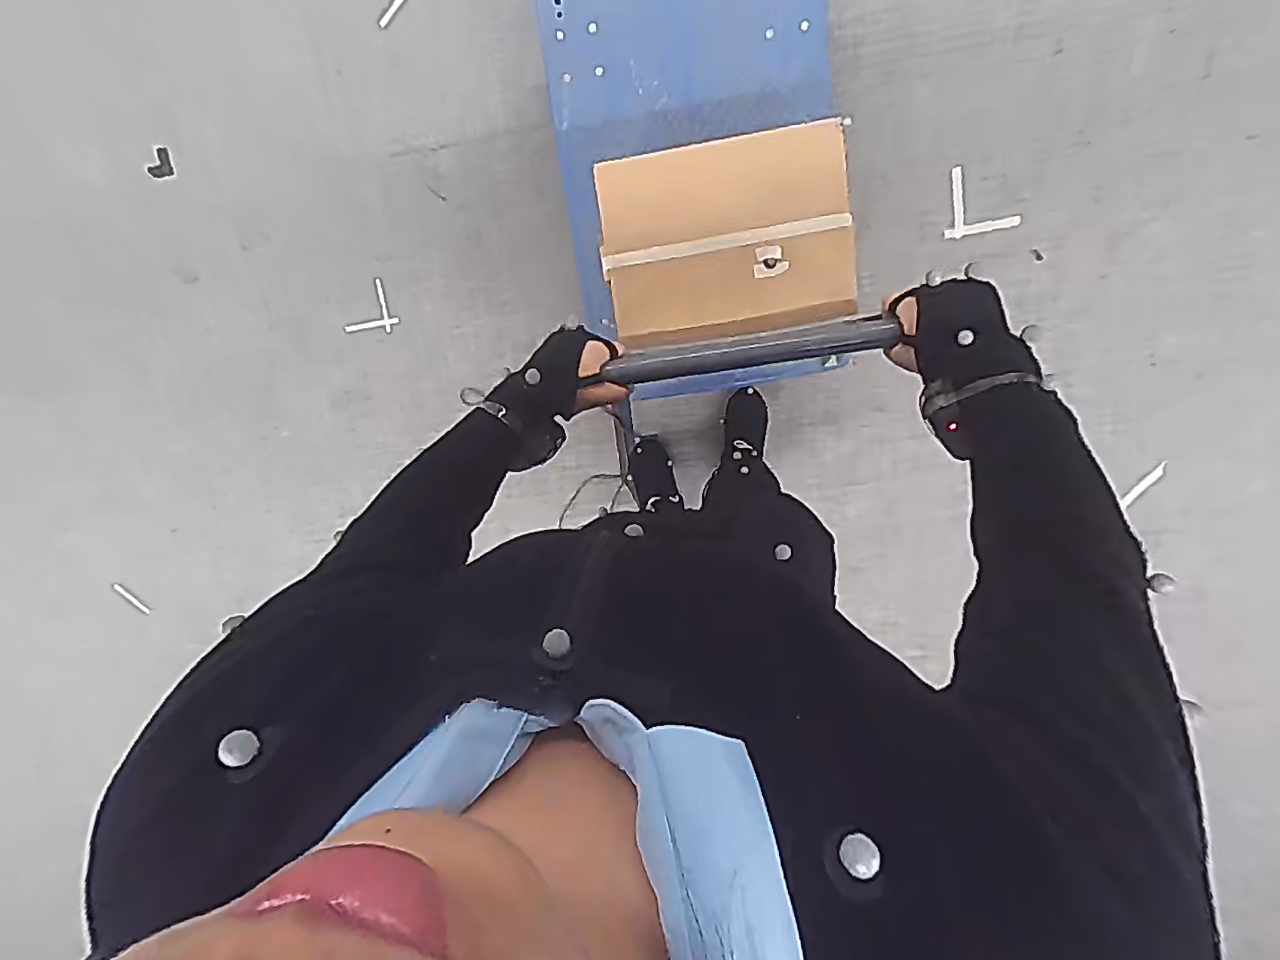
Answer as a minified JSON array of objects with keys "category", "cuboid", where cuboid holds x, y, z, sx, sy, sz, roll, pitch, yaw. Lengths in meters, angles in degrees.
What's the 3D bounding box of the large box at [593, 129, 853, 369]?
[{"category":"large box","cuboid":[0.147,-0.406,1.048,0.408,0.320,0.320,-8,100,5]}]
